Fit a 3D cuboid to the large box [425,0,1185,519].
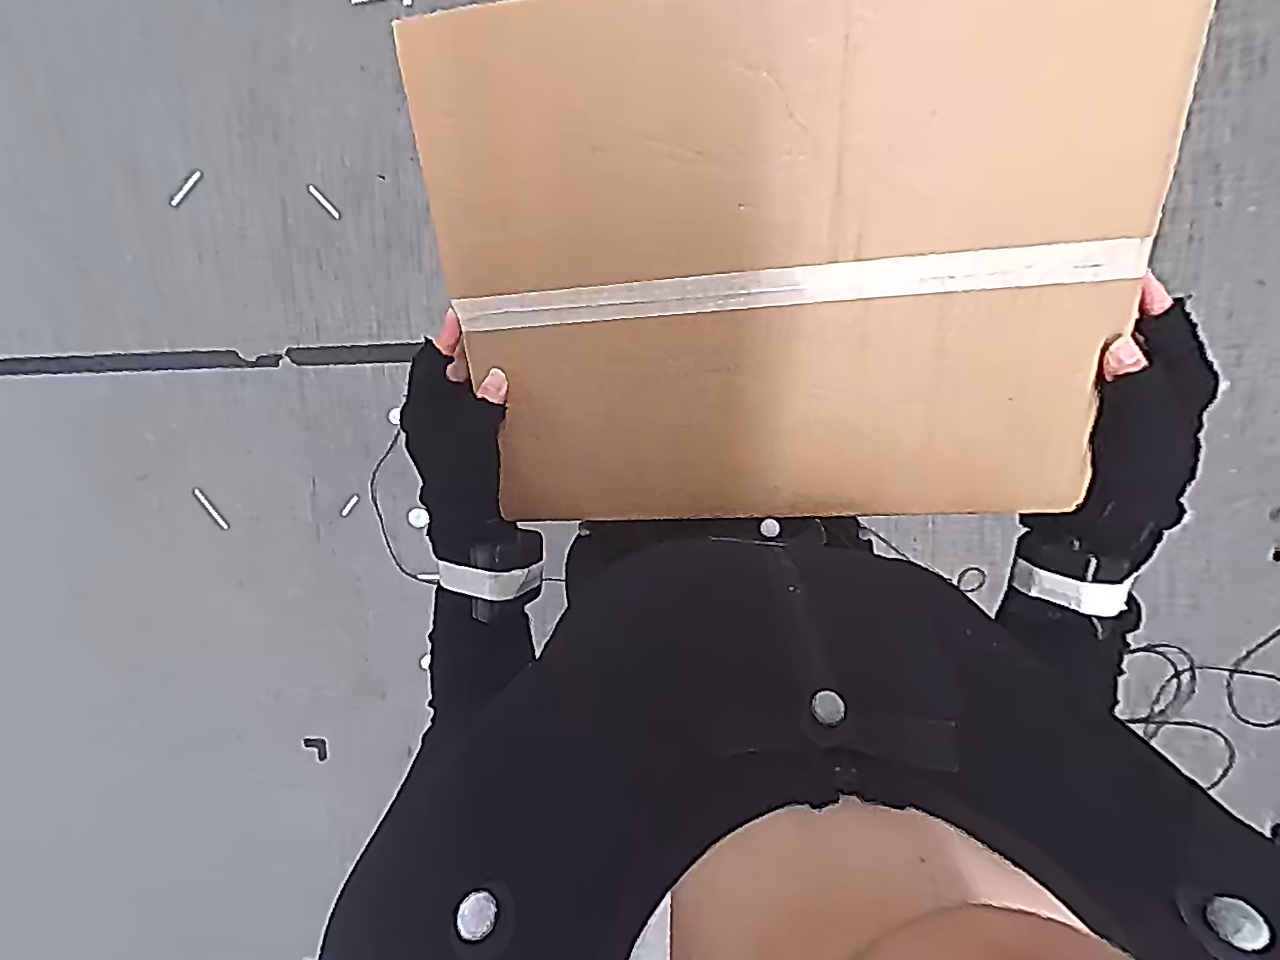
[{"bbox_3d":[0.099,-0.174,0.476,0.408,0.320,0.320,-1,114,9],"label":"large box"}]
